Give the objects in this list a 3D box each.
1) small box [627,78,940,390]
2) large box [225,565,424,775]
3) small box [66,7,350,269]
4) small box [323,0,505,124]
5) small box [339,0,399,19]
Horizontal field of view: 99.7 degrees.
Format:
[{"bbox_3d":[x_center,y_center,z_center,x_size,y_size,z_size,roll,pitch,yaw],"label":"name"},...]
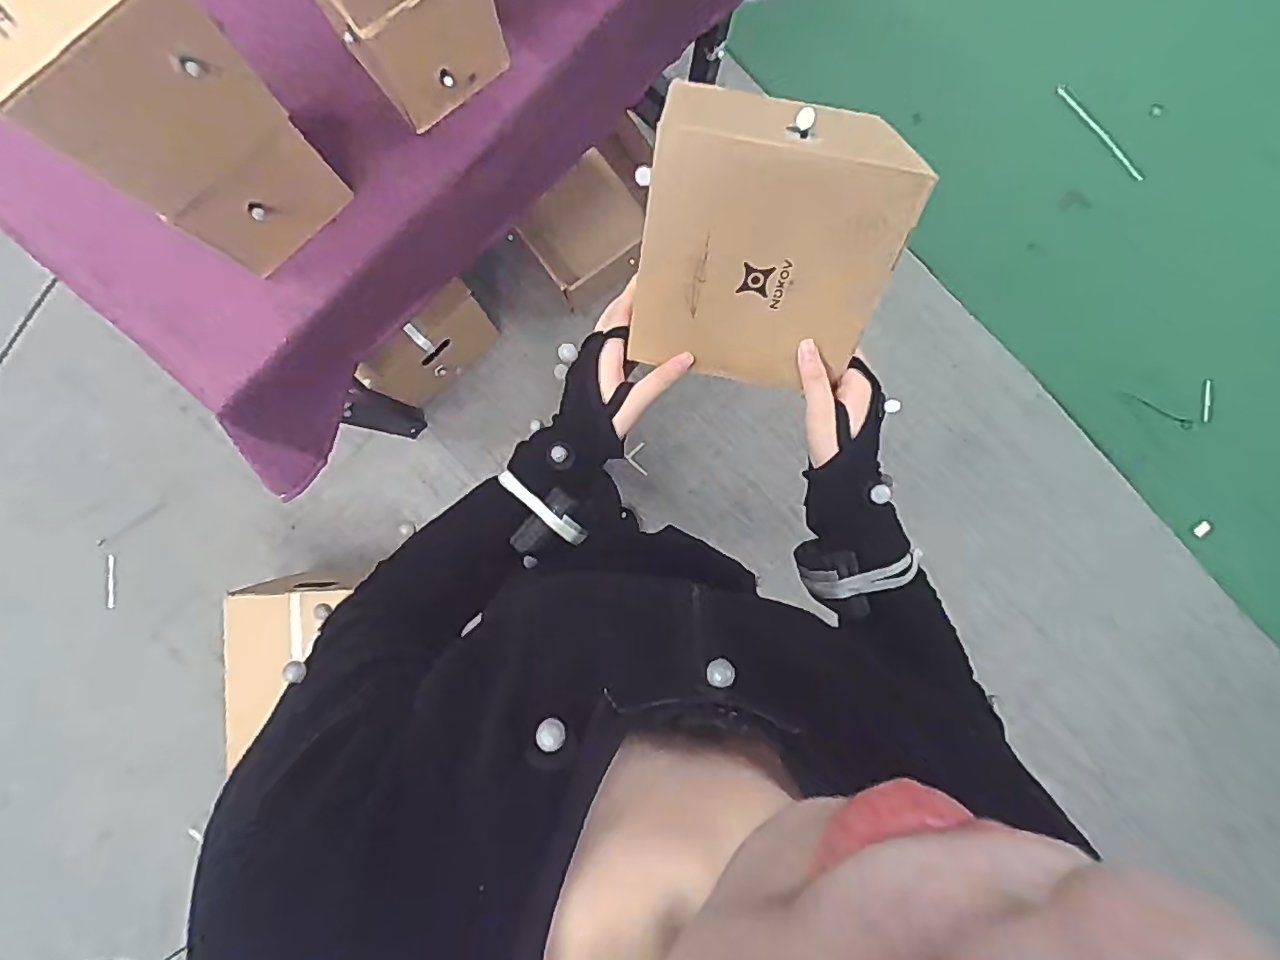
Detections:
[{"bbox_3d":[0.094,-0.200,0.437,0.179,0.168,0.176,11,45,-3],"label":"small box"},{"bbox_3d":[-0.736,0.431,1.312,0.320,0.320,0.408,-2,89,-4],"label":"large box"},{"bbox_3d":[-0.507,-0.397,0.667,0.179,0.176,0.168,-44,93,-1],"label":"small box"},{"bbox_3d":[-0.296,-0.607,0.680,0.168,0.176,0.179,-39,92,-2],"label":"small box"},{"bbox_3d":[-0.292,-0.614,0.515,0.168,0.176,0.179,-38,92,-2],"label":"small box"}]
